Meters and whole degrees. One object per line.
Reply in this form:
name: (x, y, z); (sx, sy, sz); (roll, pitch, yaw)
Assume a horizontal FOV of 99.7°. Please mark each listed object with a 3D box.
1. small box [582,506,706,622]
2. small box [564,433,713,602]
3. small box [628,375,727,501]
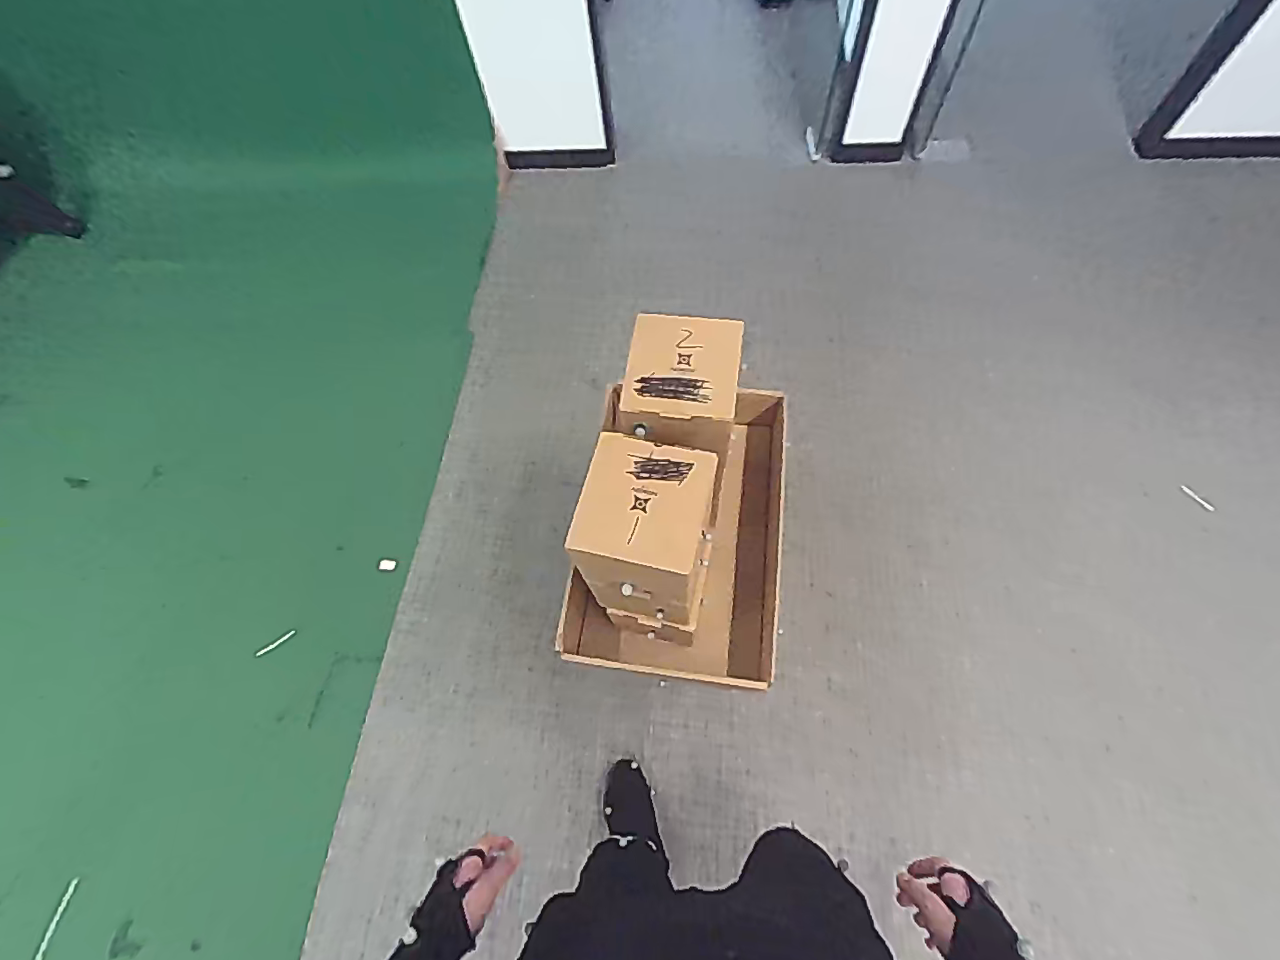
small box: (0.014, 0.132, 0.931); (0.168, 0.176, 0.179); (12, 65, 9)
small box: (0.003, 0.060, 0.784); (0.168, 0.176, 0.179); (12, 66, 9)
small box: (0.070, -0.075, 1.025); (0.168, 0.176, 0.179); (5, 68, 6)
